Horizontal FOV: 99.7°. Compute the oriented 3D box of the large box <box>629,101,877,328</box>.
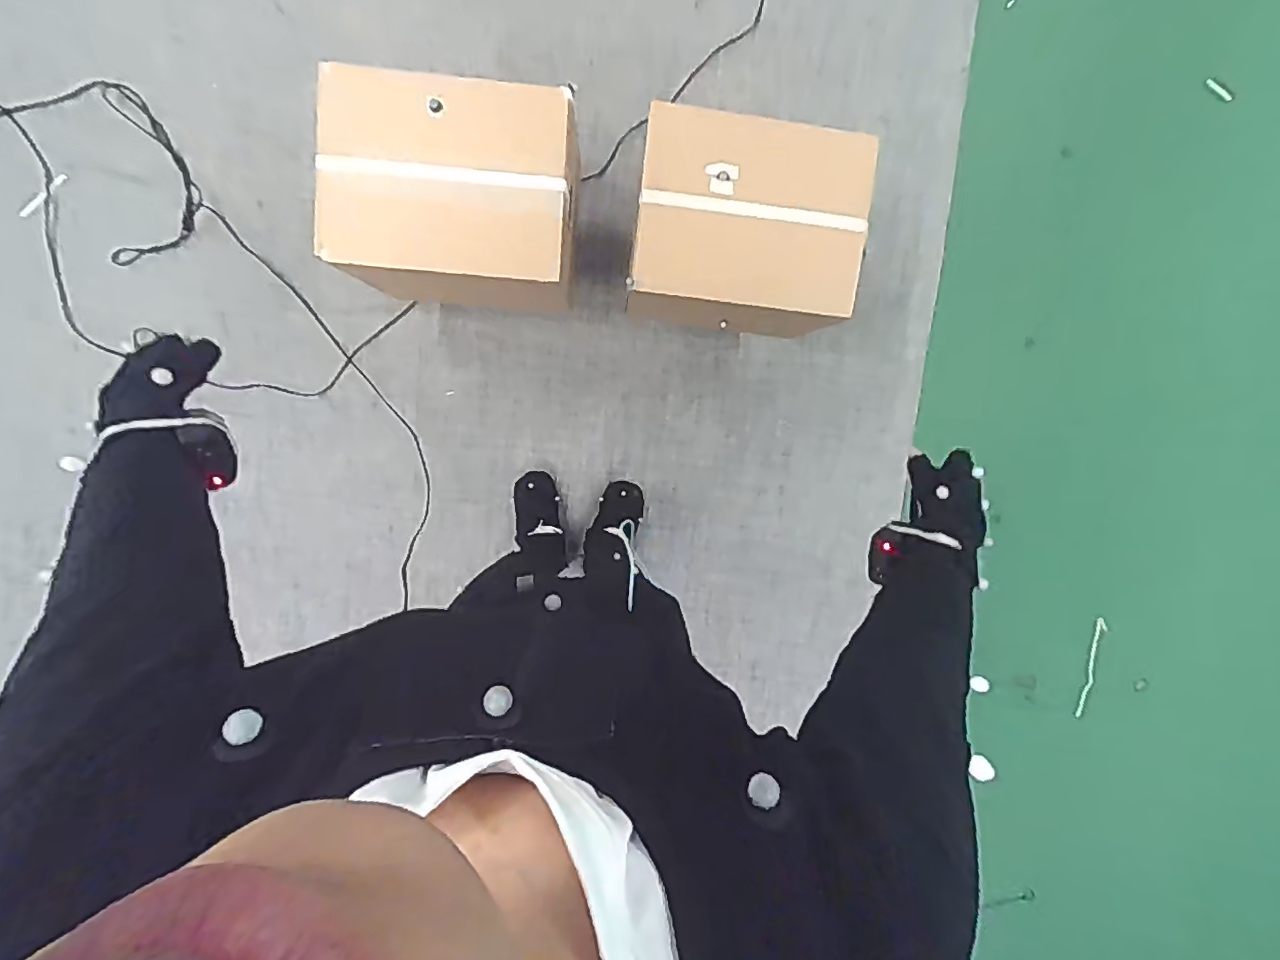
[{"bbox_3d":[0.197,-0.499,1.098,0.408,0.320,0.320,6,98,-4],"label":"large box"}]
